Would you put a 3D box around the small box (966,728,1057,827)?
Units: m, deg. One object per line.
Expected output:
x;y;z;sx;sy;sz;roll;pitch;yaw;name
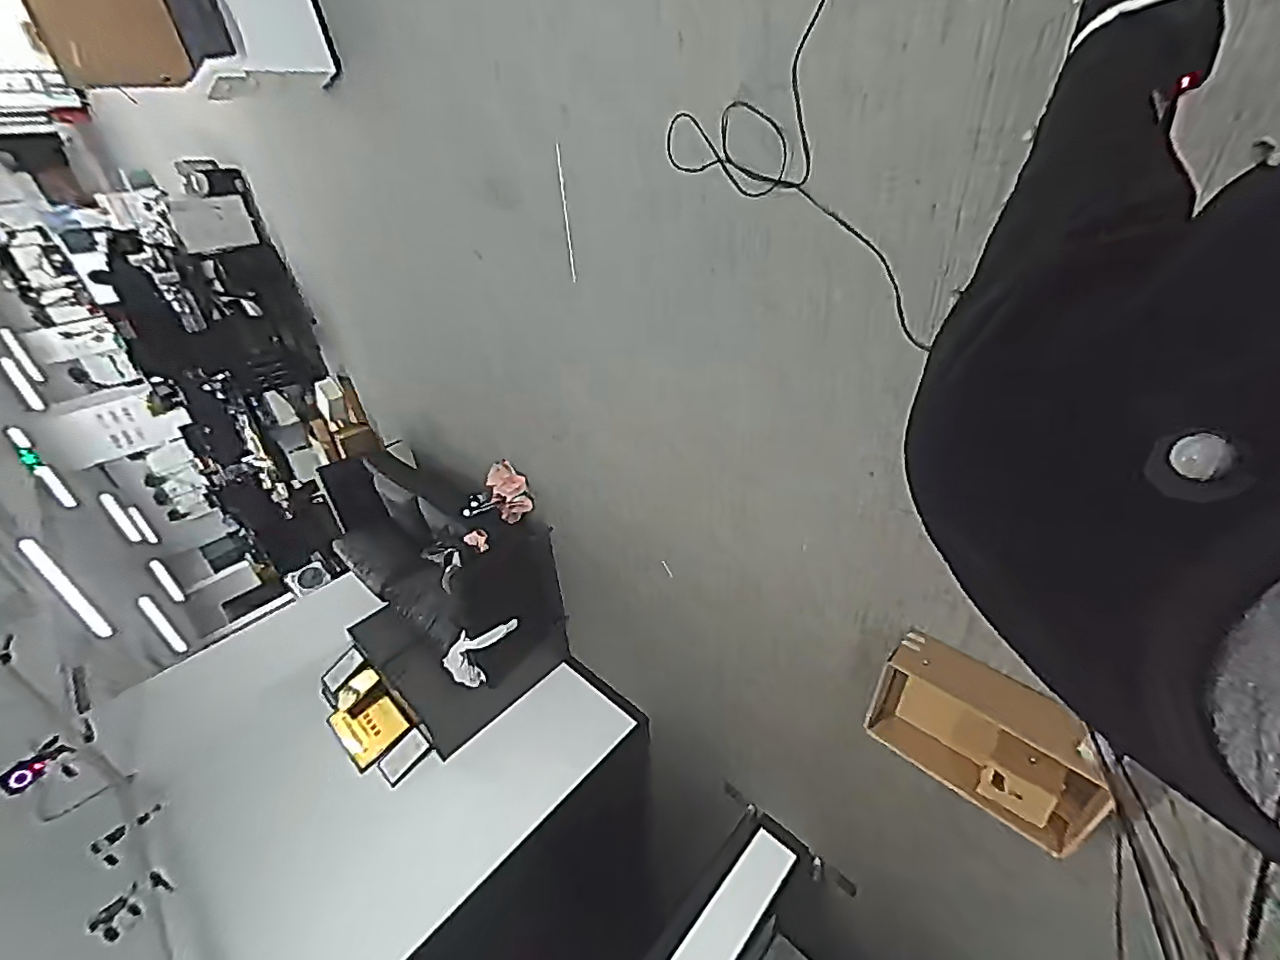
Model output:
1.125;0.889;1.639;0.179;0.176;0.168;21;129;35;small box
